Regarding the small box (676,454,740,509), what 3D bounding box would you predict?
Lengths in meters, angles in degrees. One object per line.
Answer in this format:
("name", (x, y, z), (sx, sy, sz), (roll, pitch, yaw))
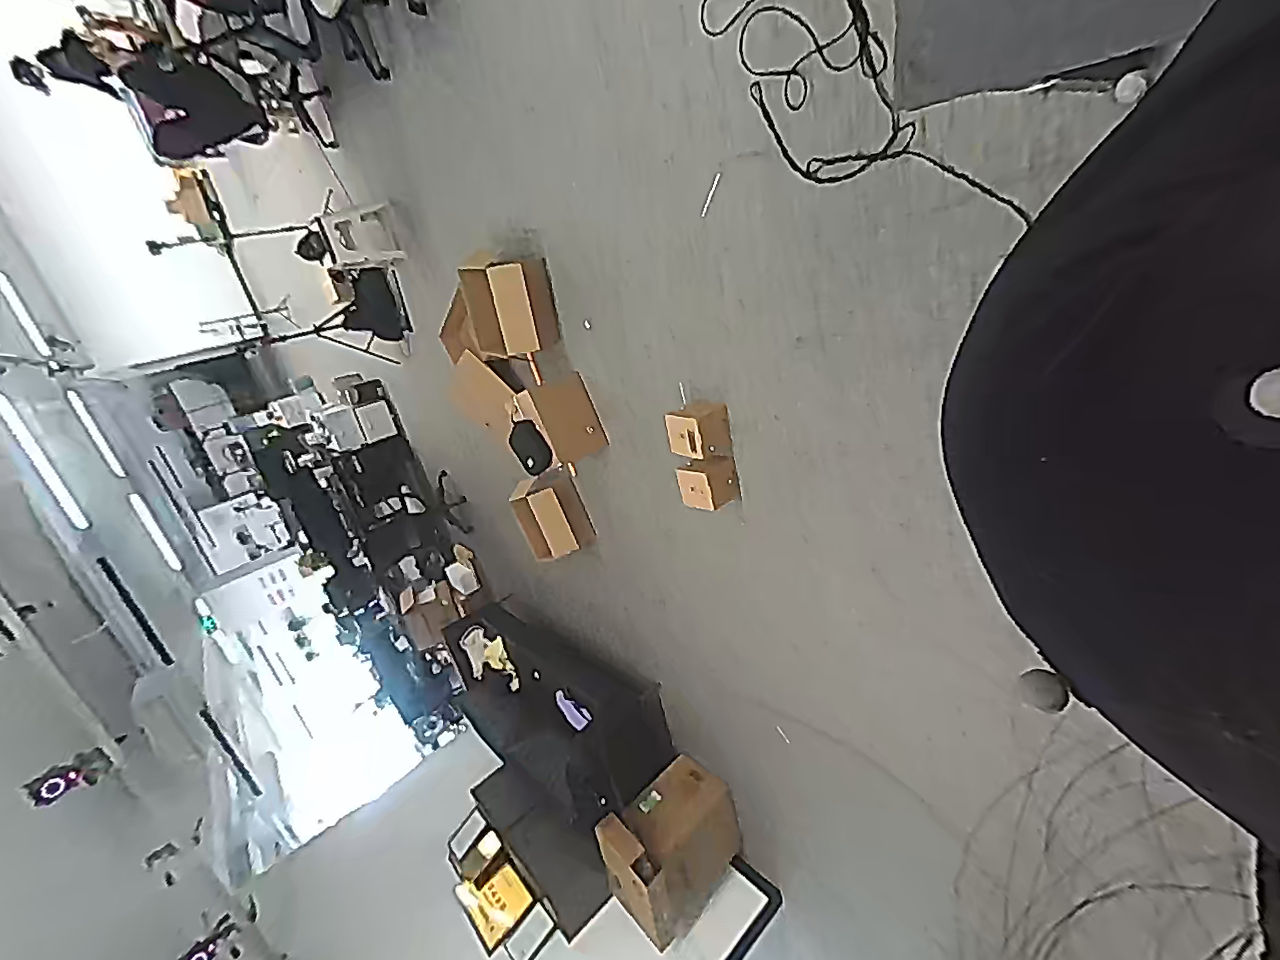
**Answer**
("small box", (0.279, 0.000, 2.194), (0.179, 0.176, 0.168), (10, 122, 50))
